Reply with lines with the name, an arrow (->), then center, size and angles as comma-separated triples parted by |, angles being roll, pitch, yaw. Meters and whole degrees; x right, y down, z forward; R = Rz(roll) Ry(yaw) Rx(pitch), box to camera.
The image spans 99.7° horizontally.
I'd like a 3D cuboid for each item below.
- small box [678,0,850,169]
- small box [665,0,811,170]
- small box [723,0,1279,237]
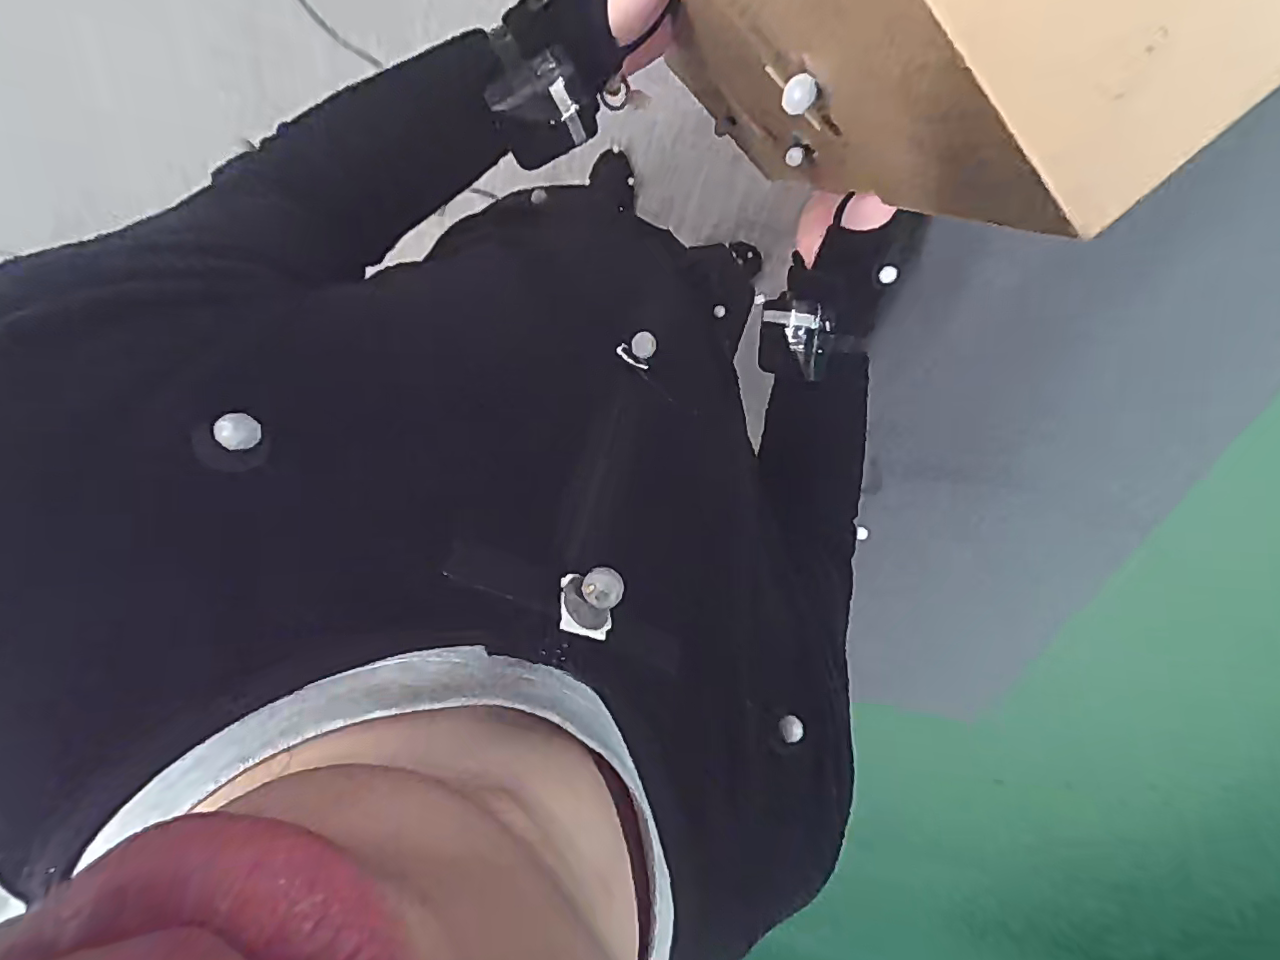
small box -> 0.135, -0.313, 0.321 | 0.168, 0.176, 0.179 | 34, 114, -20
small box -> 0.137, -0.399, 0.459 | 0.168, 0.176, 0.179 | 37, 115, -20
small box -> 0.137, -0.222, 0.184 | 0.168, 0.176, 0.179 | 36, 116, -21
